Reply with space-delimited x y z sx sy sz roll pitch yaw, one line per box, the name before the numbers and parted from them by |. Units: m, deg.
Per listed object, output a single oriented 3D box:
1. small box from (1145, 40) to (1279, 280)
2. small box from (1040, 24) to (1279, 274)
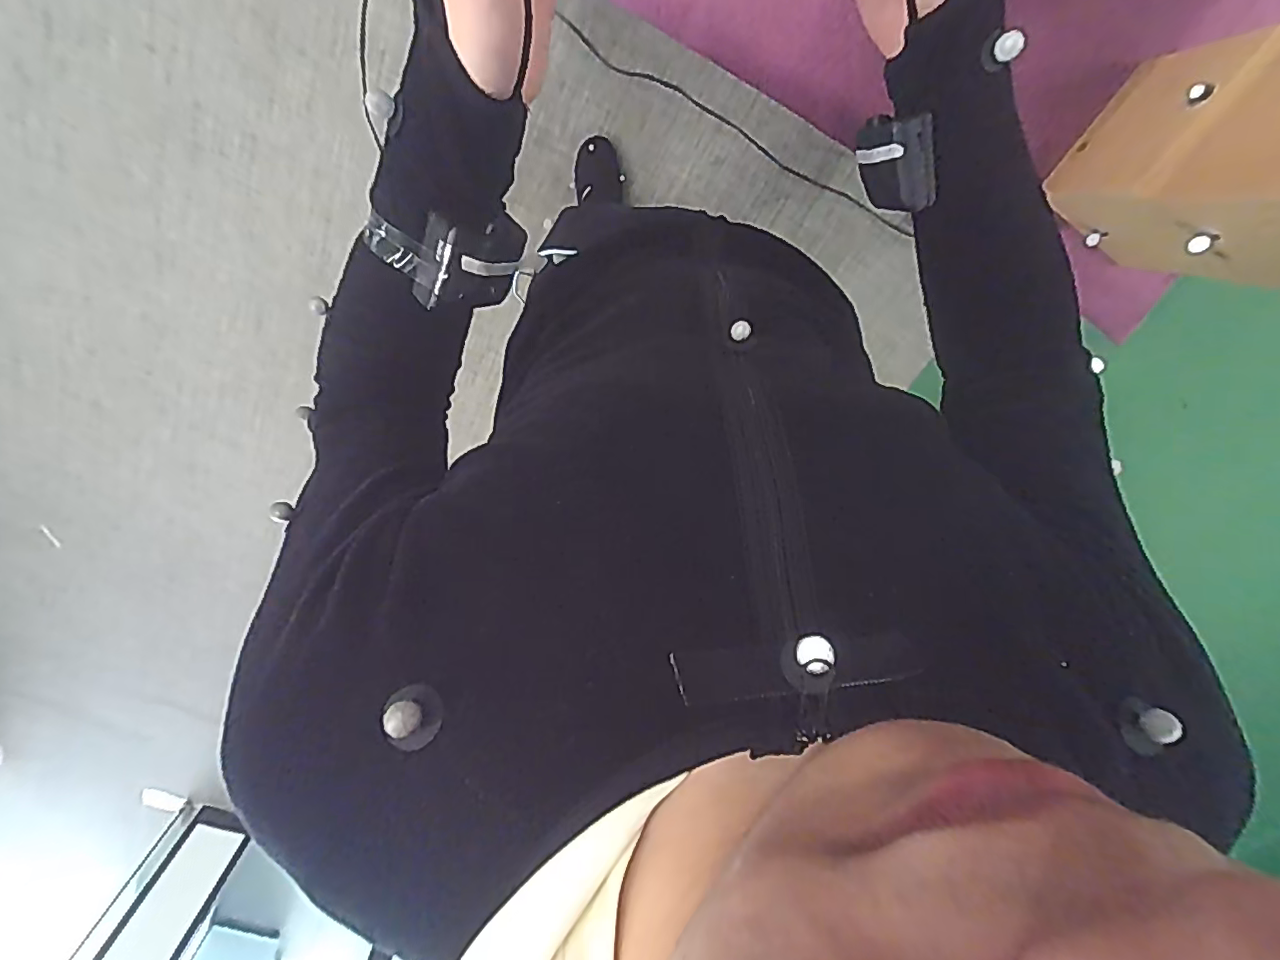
small box | 0.631 -0.294 0.480 0.168 0.176 0.179 29 115 -12
small box | 0.631 -0.369 0.625 0.179 0.176 0.168 28 114 -13
